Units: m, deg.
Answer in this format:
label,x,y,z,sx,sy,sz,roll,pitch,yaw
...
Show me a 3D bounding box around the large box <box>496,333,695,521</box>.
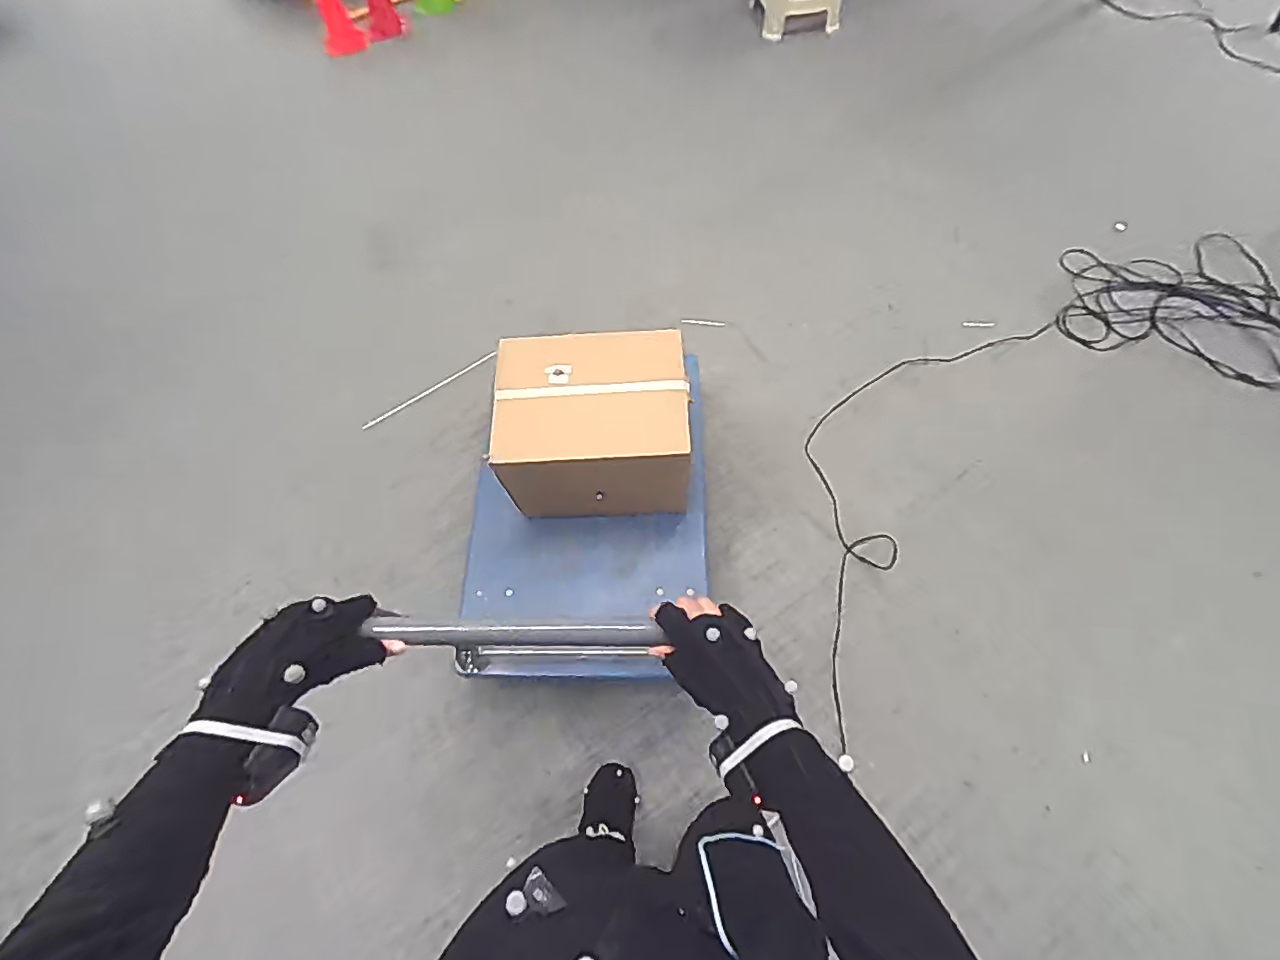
label,x,y,z,sx,sy,sz,roll,pitch,yaw
large box,-0.090,-0.109,1.269,0.408,0.320,0.320,-5,64,2
